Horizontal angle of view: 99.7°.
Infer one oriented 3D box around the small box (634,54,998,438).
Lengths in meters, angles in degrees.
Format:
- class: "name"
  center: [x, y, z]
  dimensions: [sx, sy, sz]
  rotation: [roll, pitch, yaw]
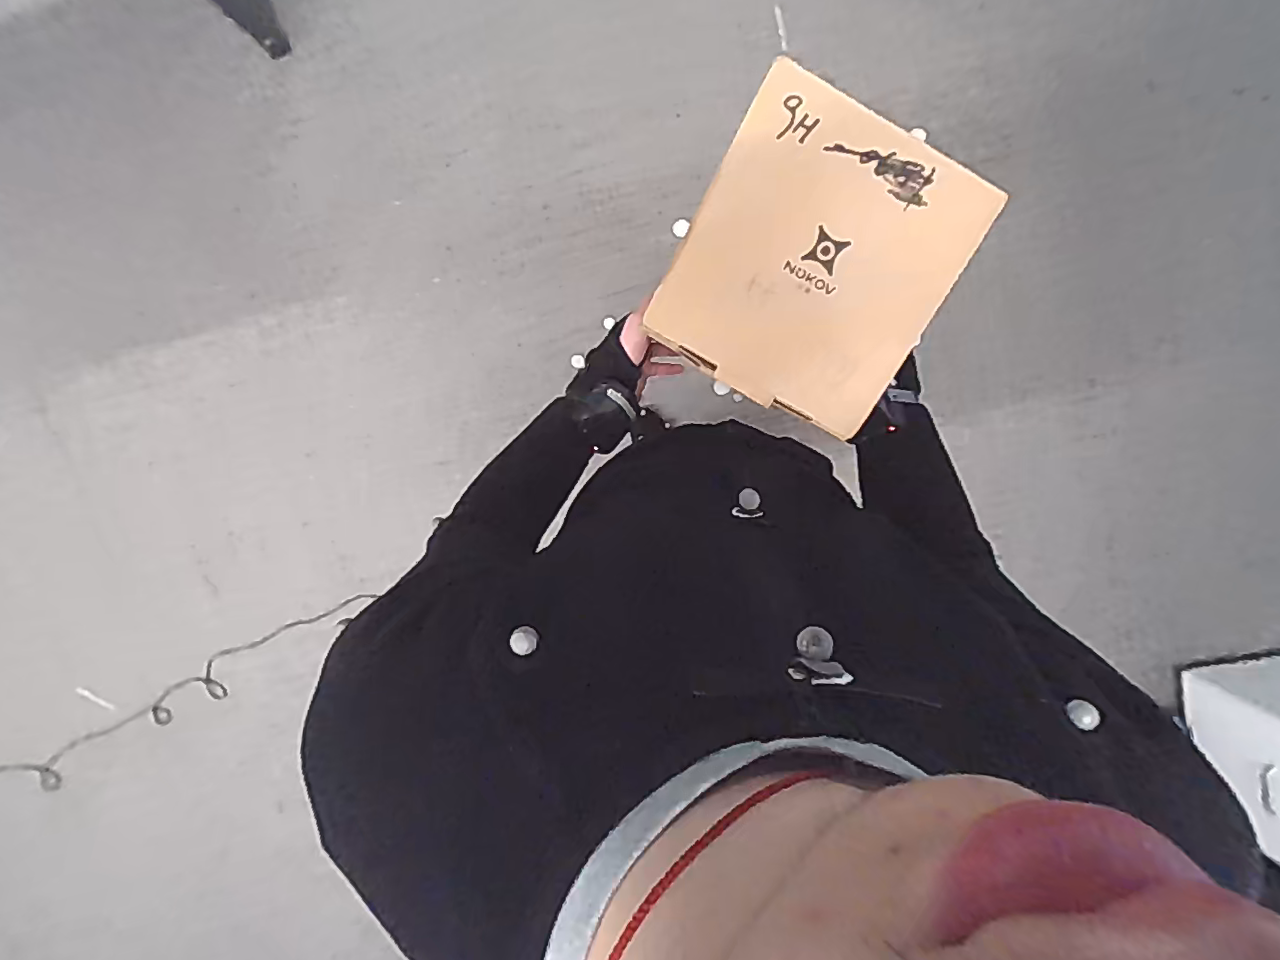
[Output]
- class: "small box"
  center: [0.112, -0.158, 0.418]
  dimensions: [0.168, 0.176, 0.179]
  rotation: [28, 105, -5]
